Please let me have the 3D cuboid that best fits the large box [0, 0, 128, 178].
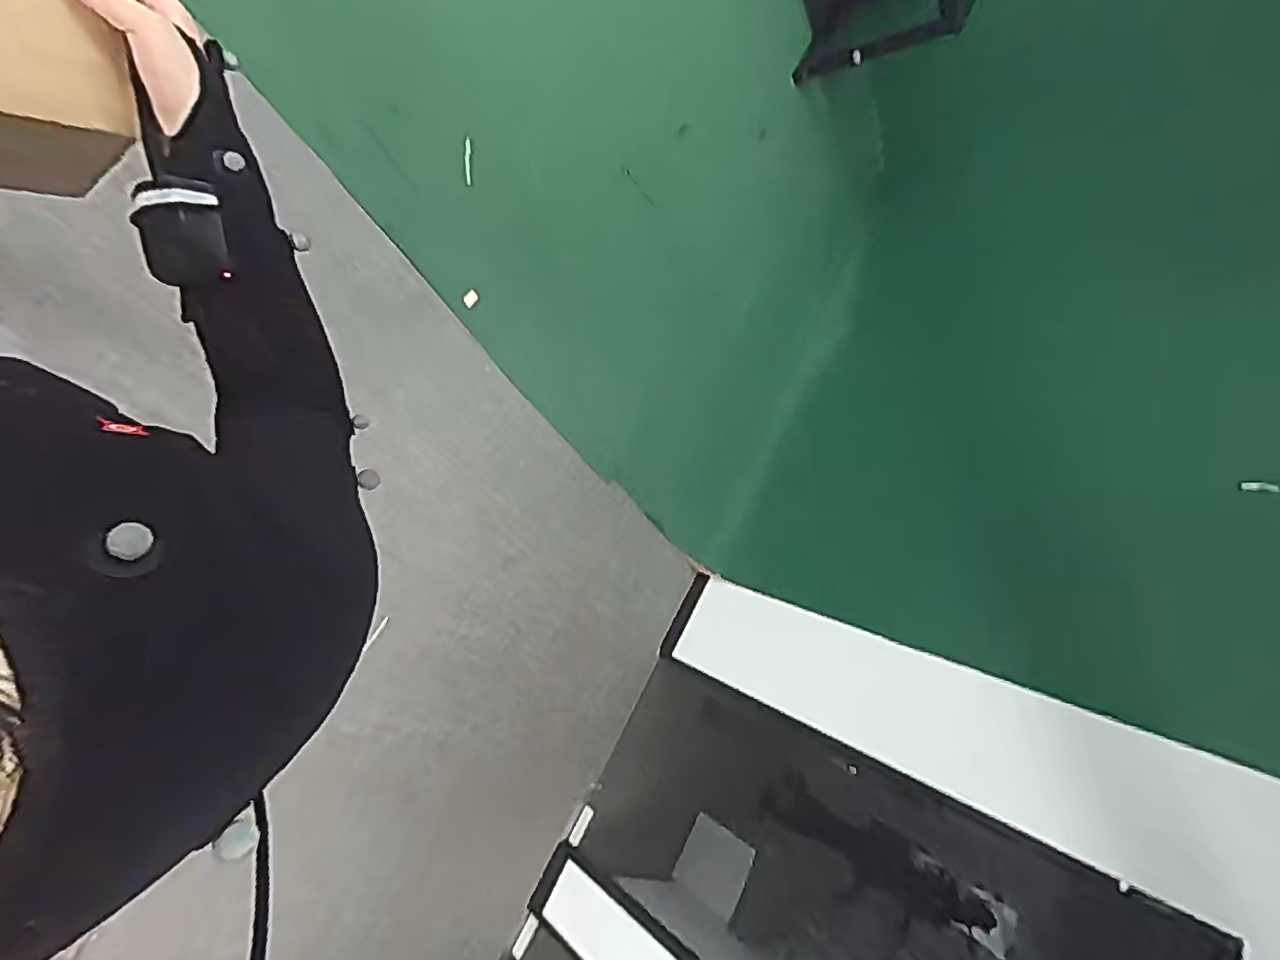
[{"bbox_3d":[-0.610,-0.387,0.287,0.408,0.320,0.320,-20,116,-49],"label":"large box"}]
